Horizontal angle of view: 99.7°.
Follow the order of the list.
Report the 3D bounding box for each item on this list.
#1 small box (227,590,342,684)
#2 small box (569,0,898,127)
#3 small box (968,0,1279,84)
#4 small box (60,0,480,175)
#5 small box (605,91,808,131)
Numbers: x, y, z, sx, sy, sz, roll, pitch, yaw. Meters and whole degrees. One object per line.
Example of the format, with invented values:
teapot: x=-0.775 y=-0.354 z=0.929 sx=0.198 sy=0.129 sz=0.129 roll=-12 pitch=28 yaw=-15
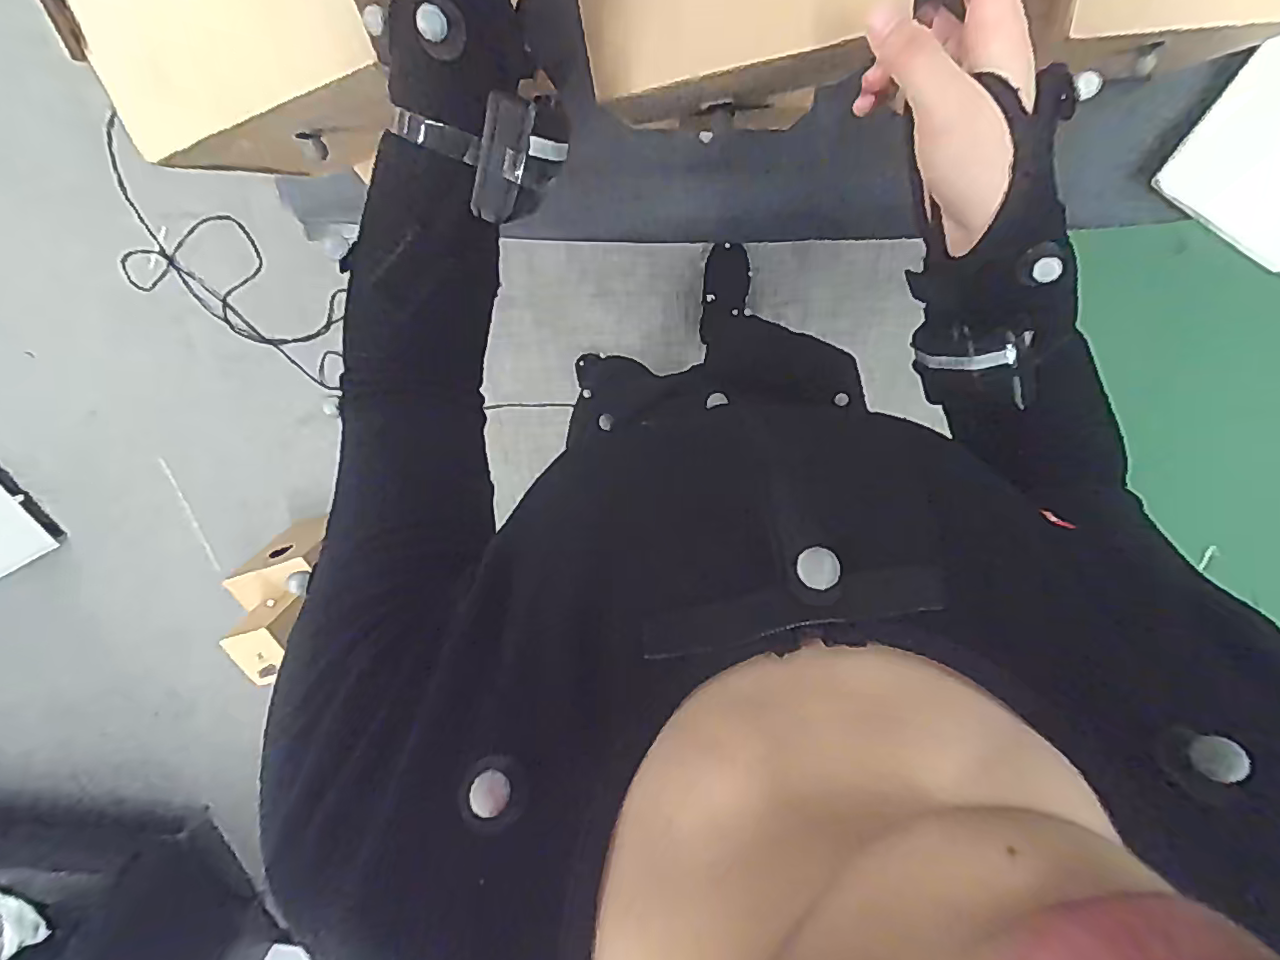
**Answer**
small box: x=-0.995 y=0.443 z=1.533 sx=0.168 sy=0.176 sz=0.179 roll=-17 pitch=114 yaw=14
small box: x=0.045 y=-0.332 z=0.318 sx=0.168 sy=0.176 sz=0.179 roll=-6 pitch=118 yaw=12
small box: x=0.387 y=-0.420 z=0.408 sx=0.179 sy=0.176 sz=0.168 roll=1 pitch=116 yaw=9
small box: x=-0.241 y=-0.323 z=0.365 sx=0.179 sy=0.176 sz=0.168 roll=-12 pitch=114 yaw=14
small box: x=0.061 y=-0.410 z=0.460 sx=0.168 sy=0.176 sz=0.179 roll=4 pitch=118 yaw=7
